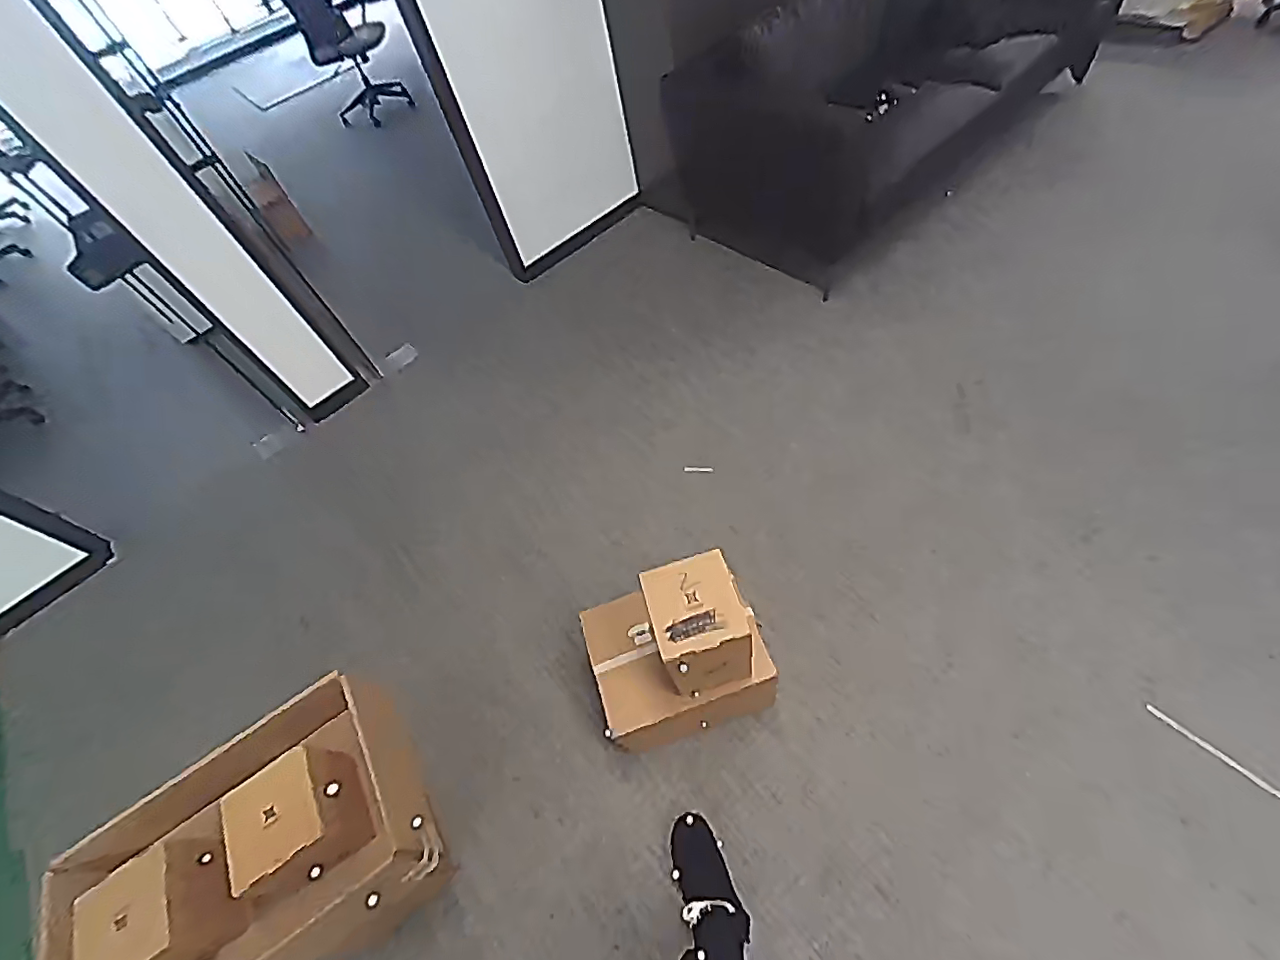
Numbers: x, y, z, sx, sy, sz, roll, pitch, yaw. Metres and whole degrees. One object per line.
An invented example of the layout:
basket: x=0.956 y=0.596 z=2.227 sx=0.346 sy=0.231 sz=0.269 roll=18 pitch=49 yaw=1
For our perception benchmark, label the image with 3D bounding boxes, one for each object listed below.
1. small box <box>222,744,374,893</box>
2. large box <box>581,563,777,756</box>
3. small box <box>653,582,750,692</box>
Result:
small box: x=-0.644 y=0.642 z=1.030 sx=0.168 sy=0.176 sz=0.179 roll=-33 pitch=57 yaw=-11
large box: x=0.107 y=0.476 z=1.415 sx=0.408 sy=0.320 sz=0.320 roll=-21 pitch=54 yaw=-1
small box: x=0.139 y=0.353 z=1.190 sx=0.168 sy=0.176 sz=0.179 roll=-17 pitch=55 yaw=0
